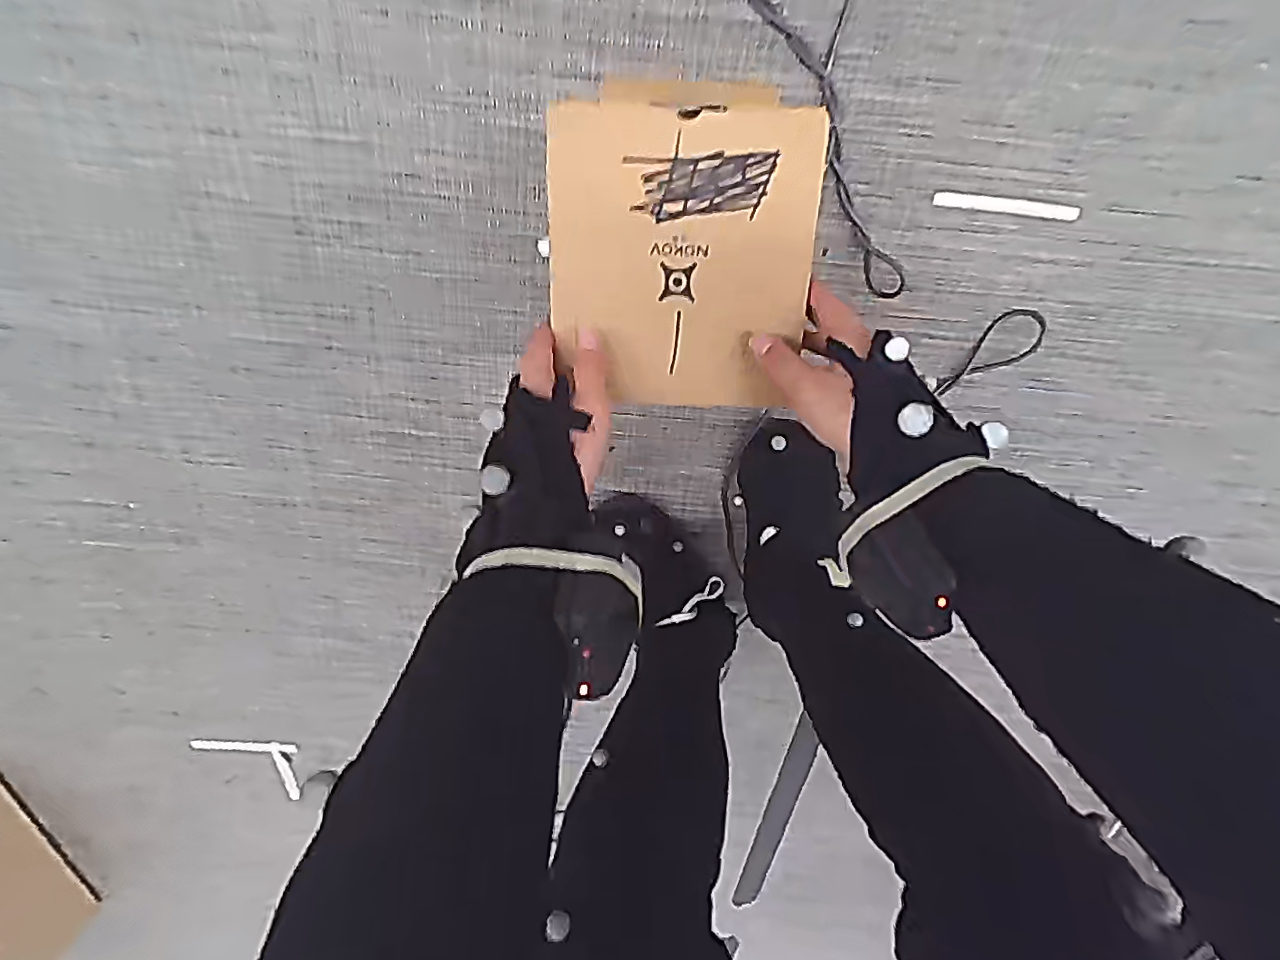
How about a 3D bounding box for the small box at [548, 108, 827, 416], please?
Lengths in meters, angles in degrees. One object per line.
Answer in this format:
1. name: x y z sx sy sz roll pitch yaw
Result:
1. small box: 0.024 -0.154 0.412 0.168 0.176 0.179 2 110 0
